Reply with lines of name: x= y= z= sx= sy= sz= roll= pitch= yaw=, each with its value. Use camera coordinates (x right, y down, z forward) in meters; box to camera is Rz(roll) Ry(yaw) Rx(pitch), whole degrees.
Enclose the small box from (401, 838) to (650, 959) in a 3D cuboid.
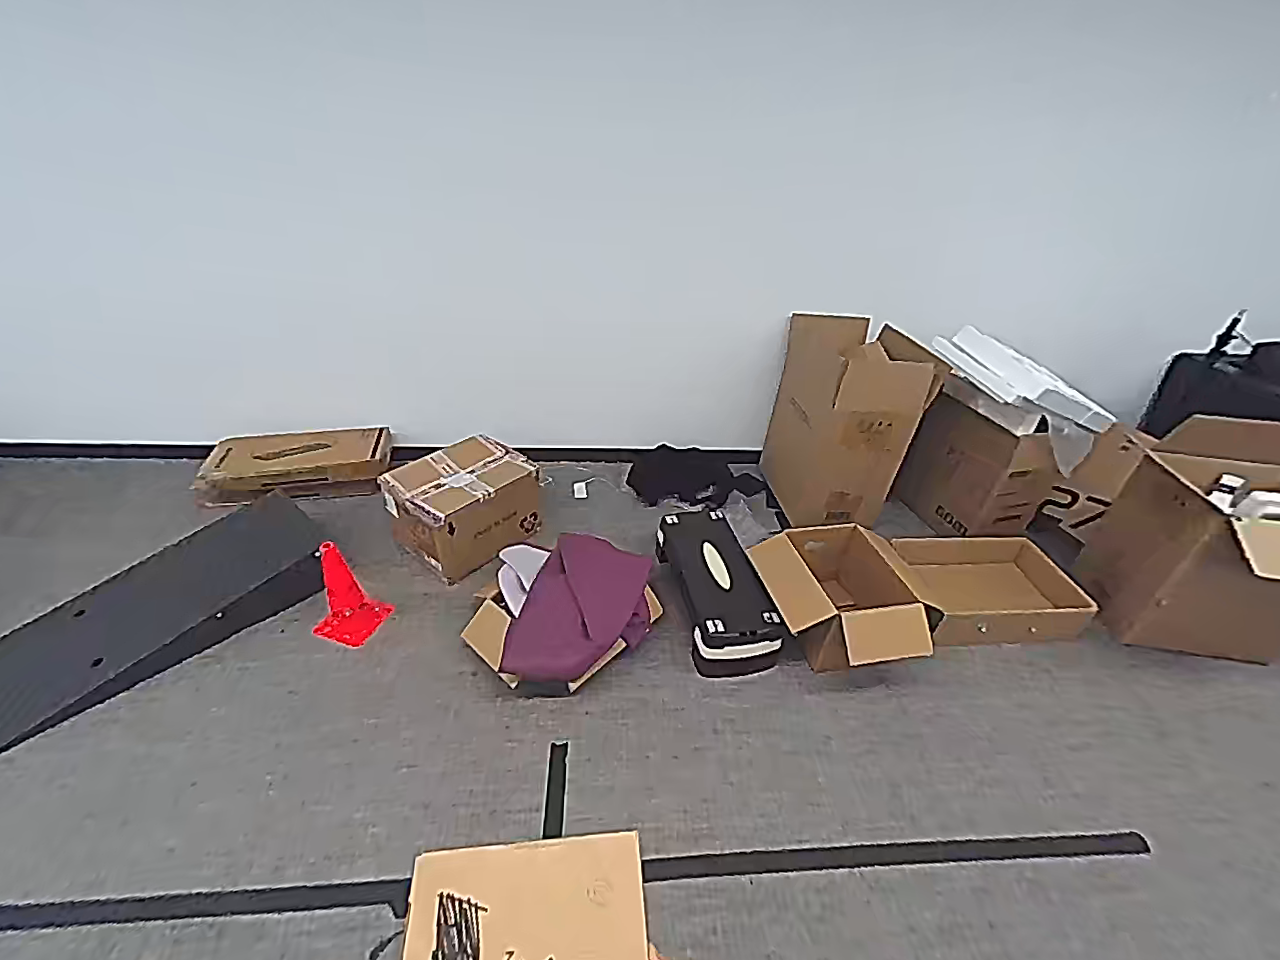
small box: x=-0.080 y=0.403 z=0.419 sx=0.179 sy=0.176 sz=0.168 roll=-2 pitch=42 yaw=-4
